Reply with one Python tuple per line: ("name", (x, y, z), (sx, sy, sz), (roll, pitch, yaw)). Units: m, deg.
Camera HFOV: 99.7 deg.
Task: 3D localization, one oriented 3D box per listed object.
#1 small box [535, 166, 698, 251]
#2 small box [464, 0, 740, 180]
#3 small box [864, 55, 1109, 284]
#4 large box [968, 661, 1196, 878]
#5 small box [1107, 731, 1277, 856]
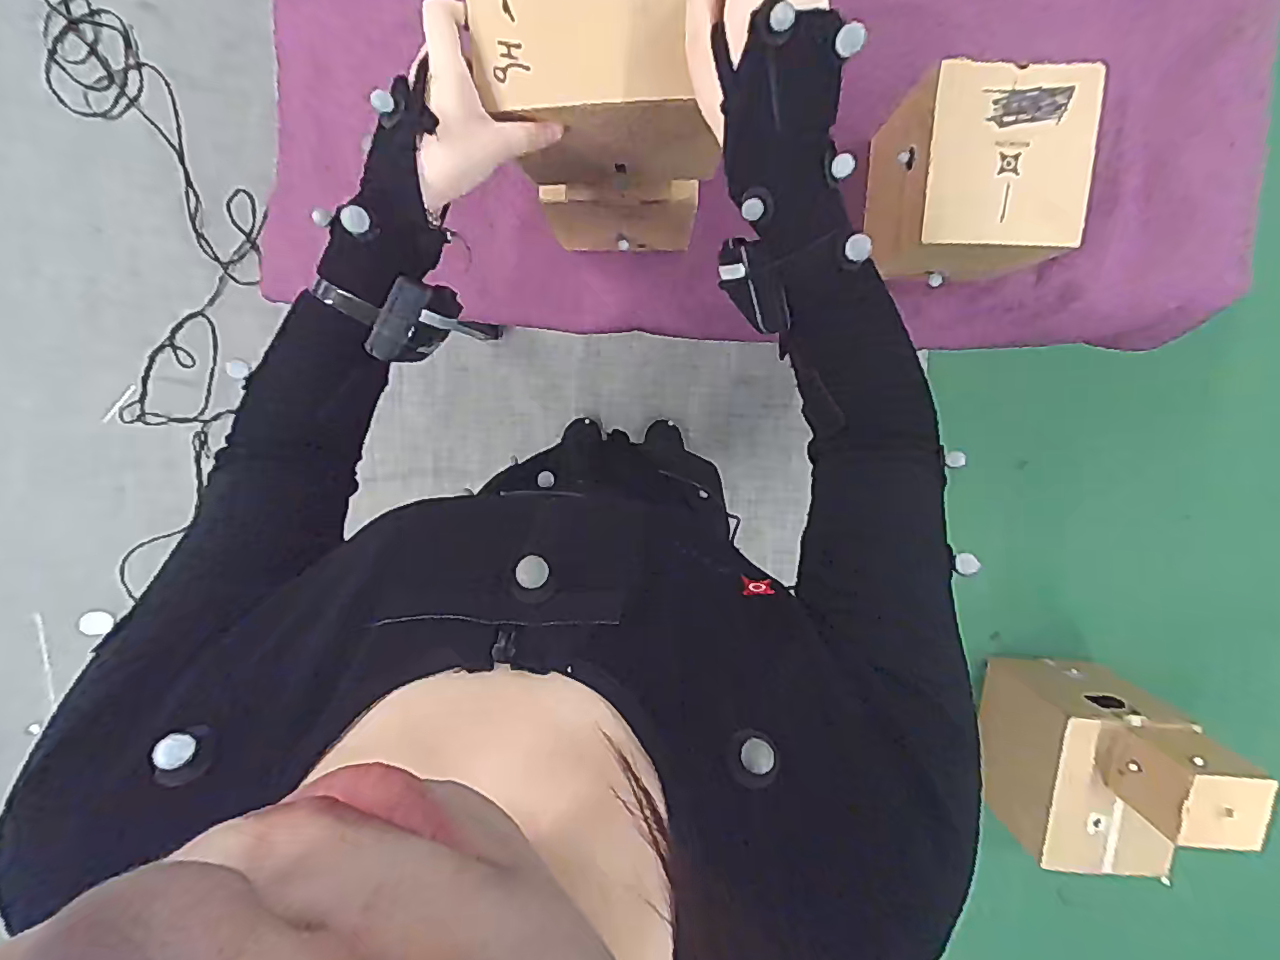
("small box", (-0.021, -0.379, 0.615), (0.168, 0.176, 0.179), (1, 97, 2))
("small box", (-0.024, -0.343, 0.411), (0.179, 0.176, 0.168), (-1, 103, 2))
("small box", (0.372, -0.335, 0.616), (0.168, 0.176, 0.179), (2, 99, 1))
("large box", (1.125, 0.735, 1.424), (0.320, 0.320, 0.408), (4, 99, 1))
("small box", (1.178, 0.669, 1.167), (0.179, 0.176, 0.168), (4, 99, 0))
